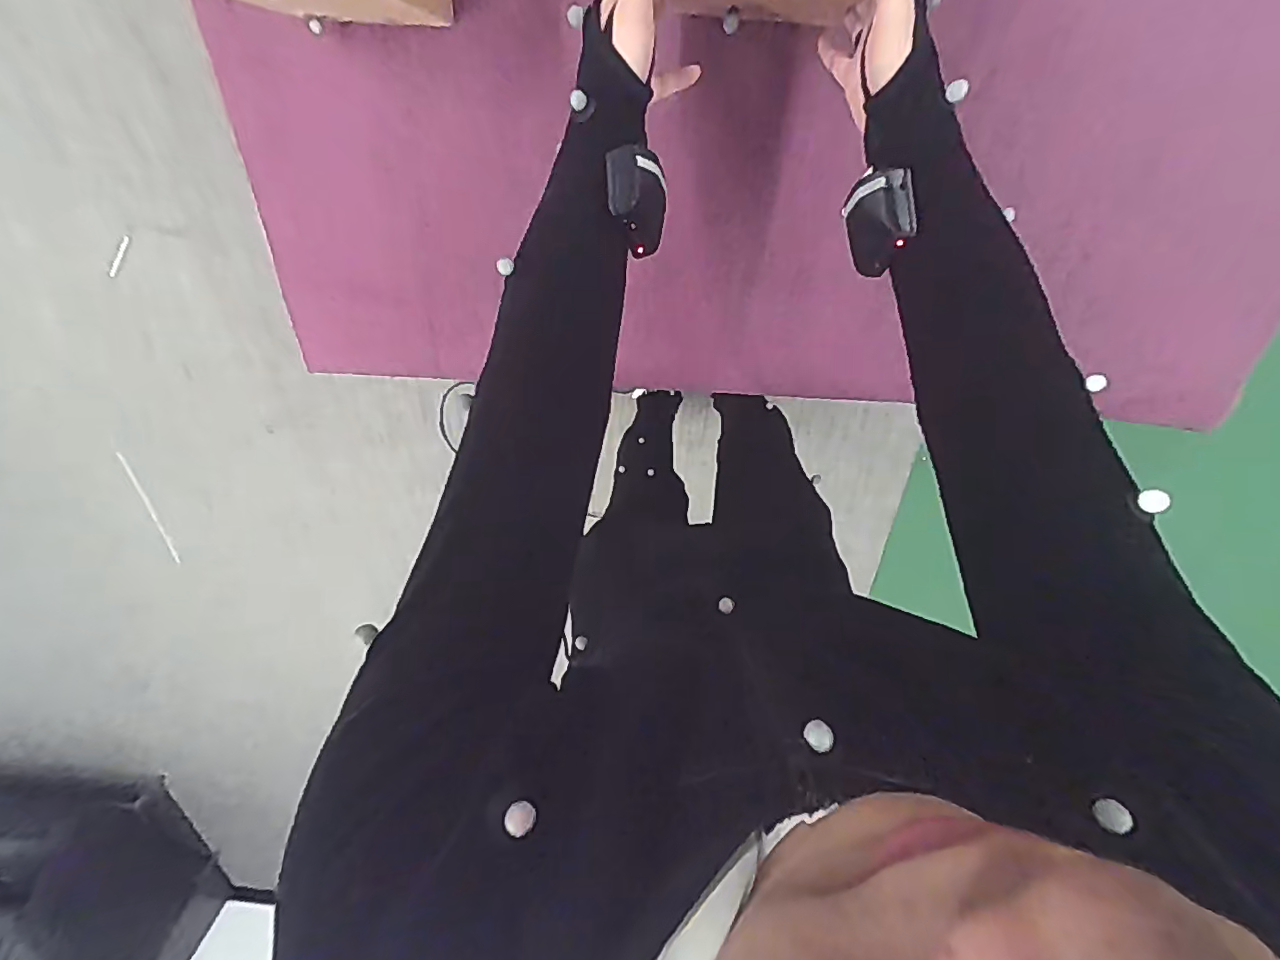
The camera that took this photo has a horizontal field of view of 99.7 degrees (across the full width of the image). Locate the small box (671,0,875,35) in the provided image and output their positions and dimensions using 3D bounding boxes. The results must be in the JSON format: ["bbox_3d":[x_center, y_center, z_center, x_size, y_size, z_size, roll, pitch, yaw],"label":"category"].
[{"bbox_3d":[0.108,-0.475,0.416,0.168,0.176,0.179,7,123,1],"label":"small box"}]

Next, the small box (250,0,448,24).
[{"bbox_3d":[-0.269,-0.491,0.433,0.168,0.176,0.179,4,123,1],"label":"small box"}]
